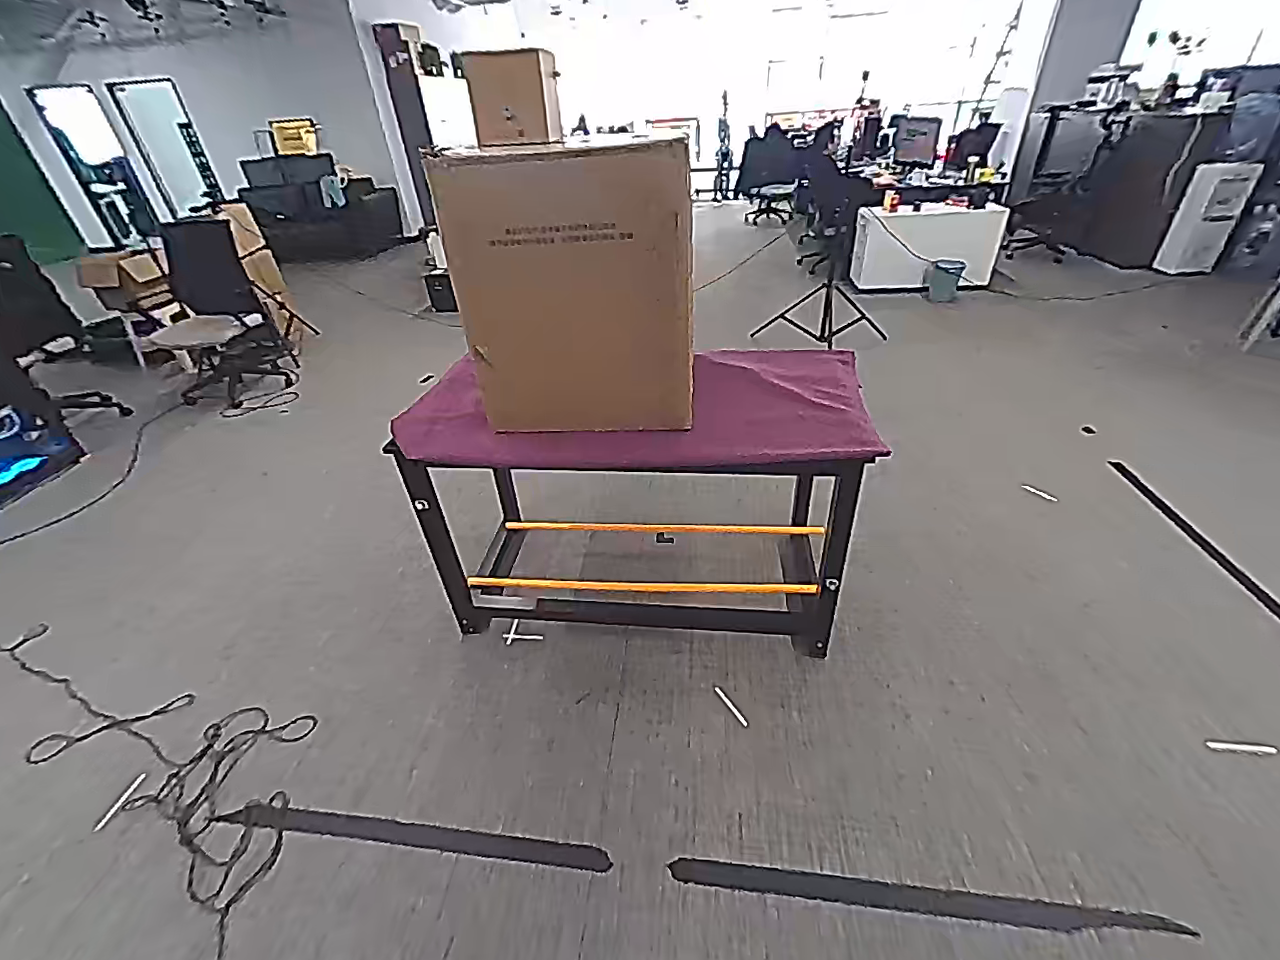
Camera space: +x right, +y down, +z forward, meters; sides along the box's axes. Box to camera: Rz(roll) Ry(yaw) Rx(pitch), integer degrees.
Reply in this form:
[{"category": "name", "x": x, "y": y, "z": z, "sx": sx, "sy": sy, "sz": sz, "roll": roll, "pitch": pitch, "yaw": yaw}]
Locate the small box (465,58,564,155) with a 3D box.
[{"category": "small box", "x": -0.274, "y": -0.845, "z": 1.232, "sx": 0.168, "sy": 0.176, "sz": 0.179, "roll": 0, "pitch": 35, "yaw": 6}]
